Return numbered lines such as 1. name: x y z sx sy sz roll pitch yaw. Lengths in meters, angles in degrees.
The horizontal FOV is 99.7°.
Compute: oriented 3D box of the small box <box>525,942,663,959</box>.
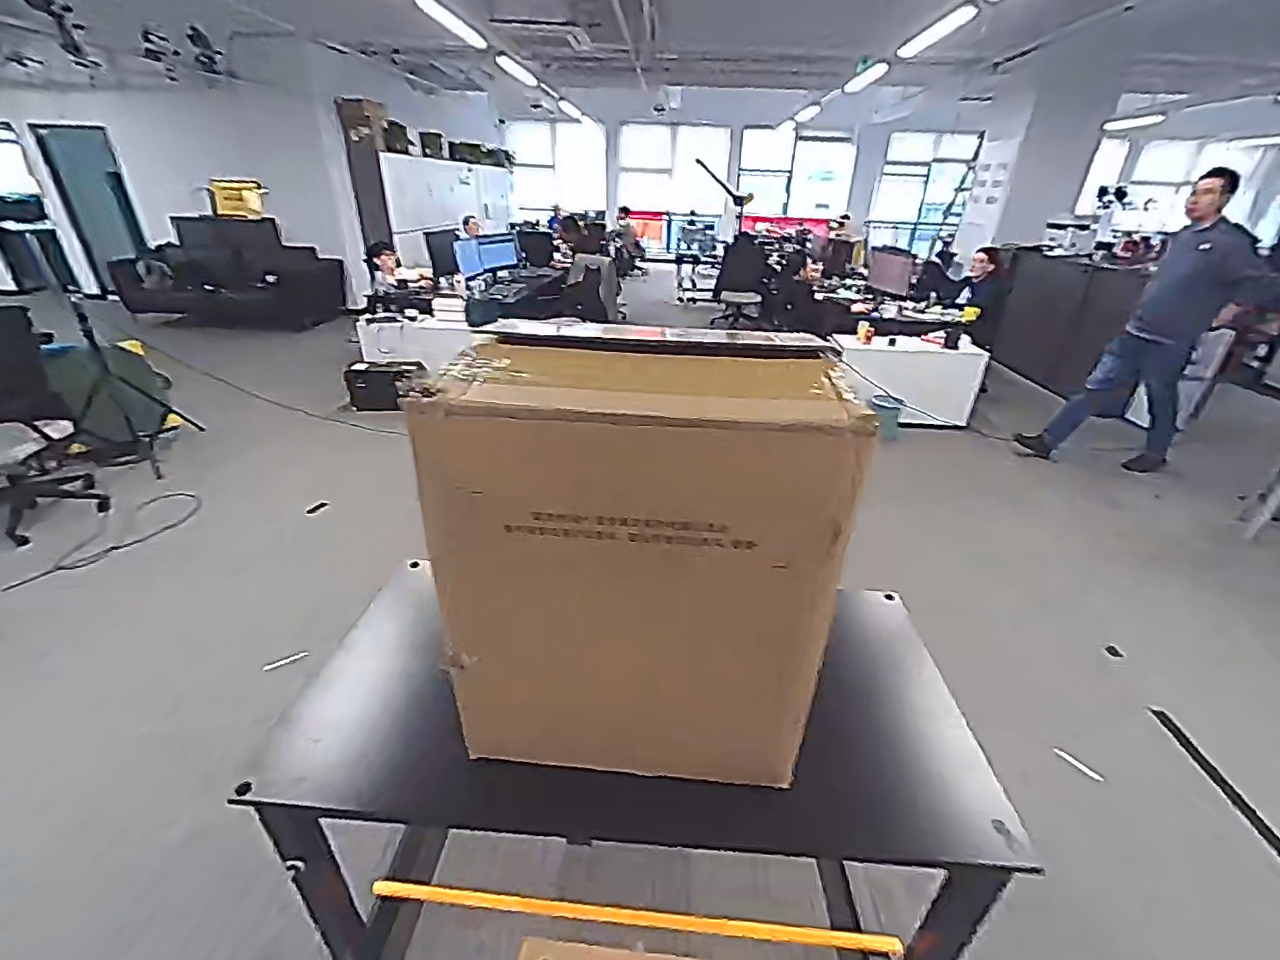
1. small box: -0.027 0.517 0.431 0.168 0.176 0.179 6 32 2
